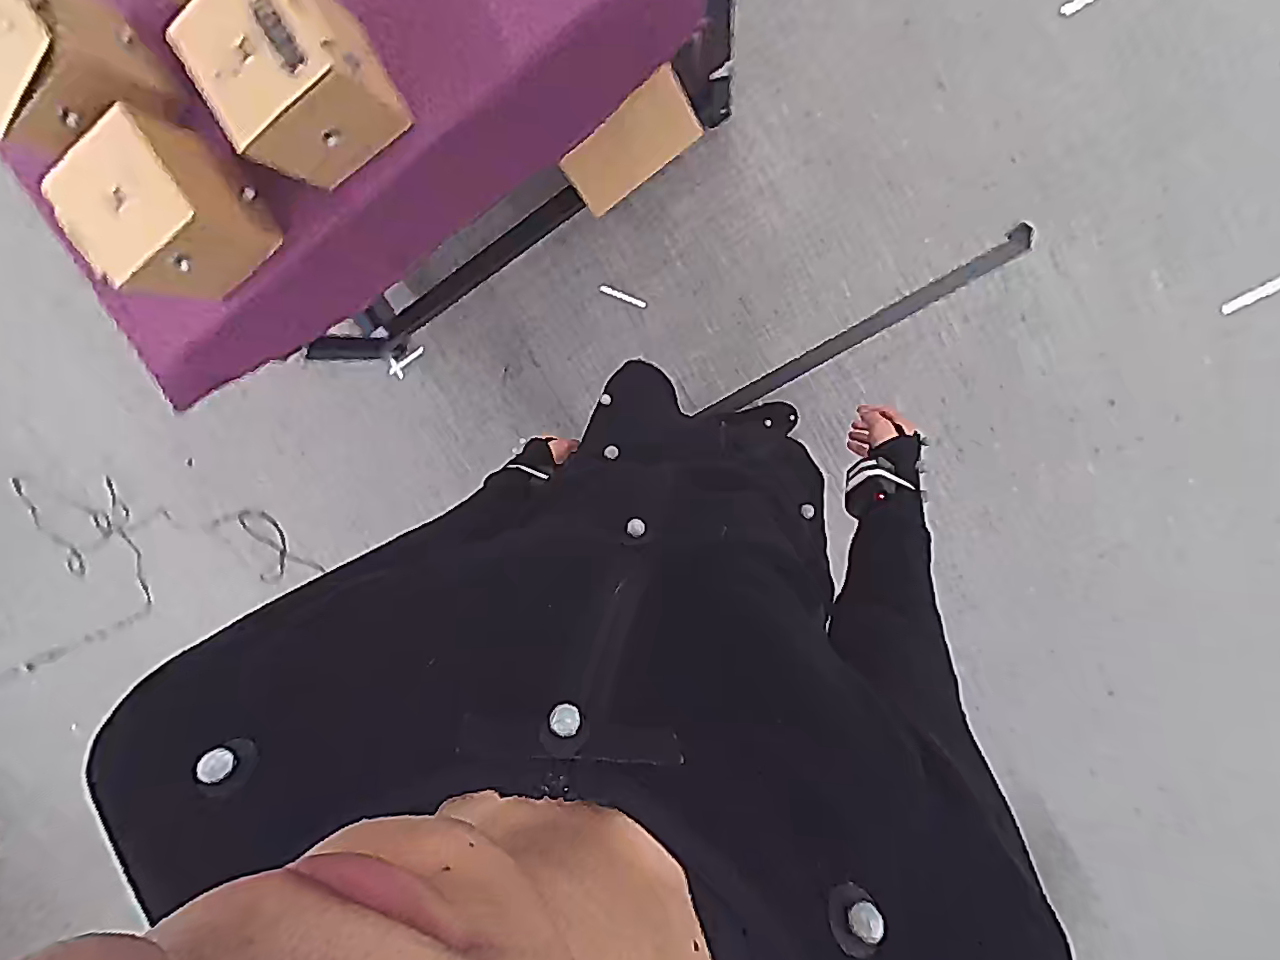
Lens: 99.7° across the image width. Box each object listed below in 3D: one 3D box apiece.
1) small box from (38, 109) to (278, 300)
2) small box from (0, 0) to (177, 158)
[{"bbox_3d":[-0.698,-0.389,0.804,0.179,0.176,0.168,-31,97,13],"label":"small box"},{"bbox_3d":[-0.838,-0.584,0.779,0.179,0.176,0.168,-33,97,13],"label":"small box"}]
